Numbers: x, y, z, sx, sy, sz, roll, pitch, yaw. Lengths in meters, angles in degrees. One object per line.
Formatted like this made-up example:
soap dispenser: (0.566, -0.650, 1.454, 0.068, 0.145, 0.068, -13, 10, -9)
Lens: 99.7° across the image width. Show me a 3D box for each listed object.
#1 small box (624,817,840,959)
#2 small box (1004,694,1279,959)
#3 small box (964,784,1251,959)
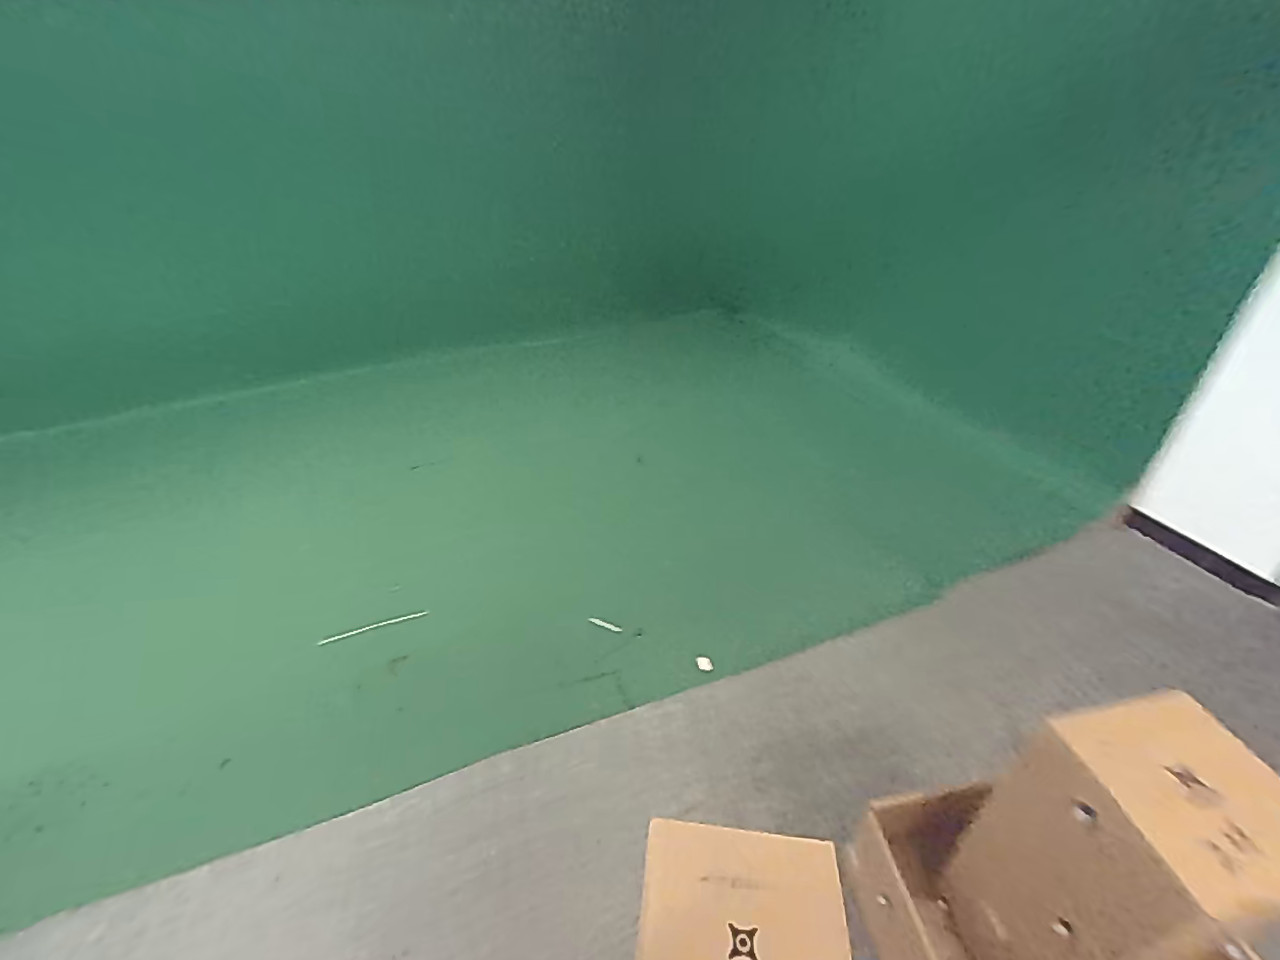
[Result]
small box: (0.071, 0.428, 0.459, 0.168, 0.176, 0.179, 4, 32, 5)
small box: (0.529, 0.358, 0.563, 0.168, 0.176, 0.179, -9, 38, -5)
small box: (0.541, 0.488, 0.663, 0.168, 0.176, 0.179, -8, 38, -5)
